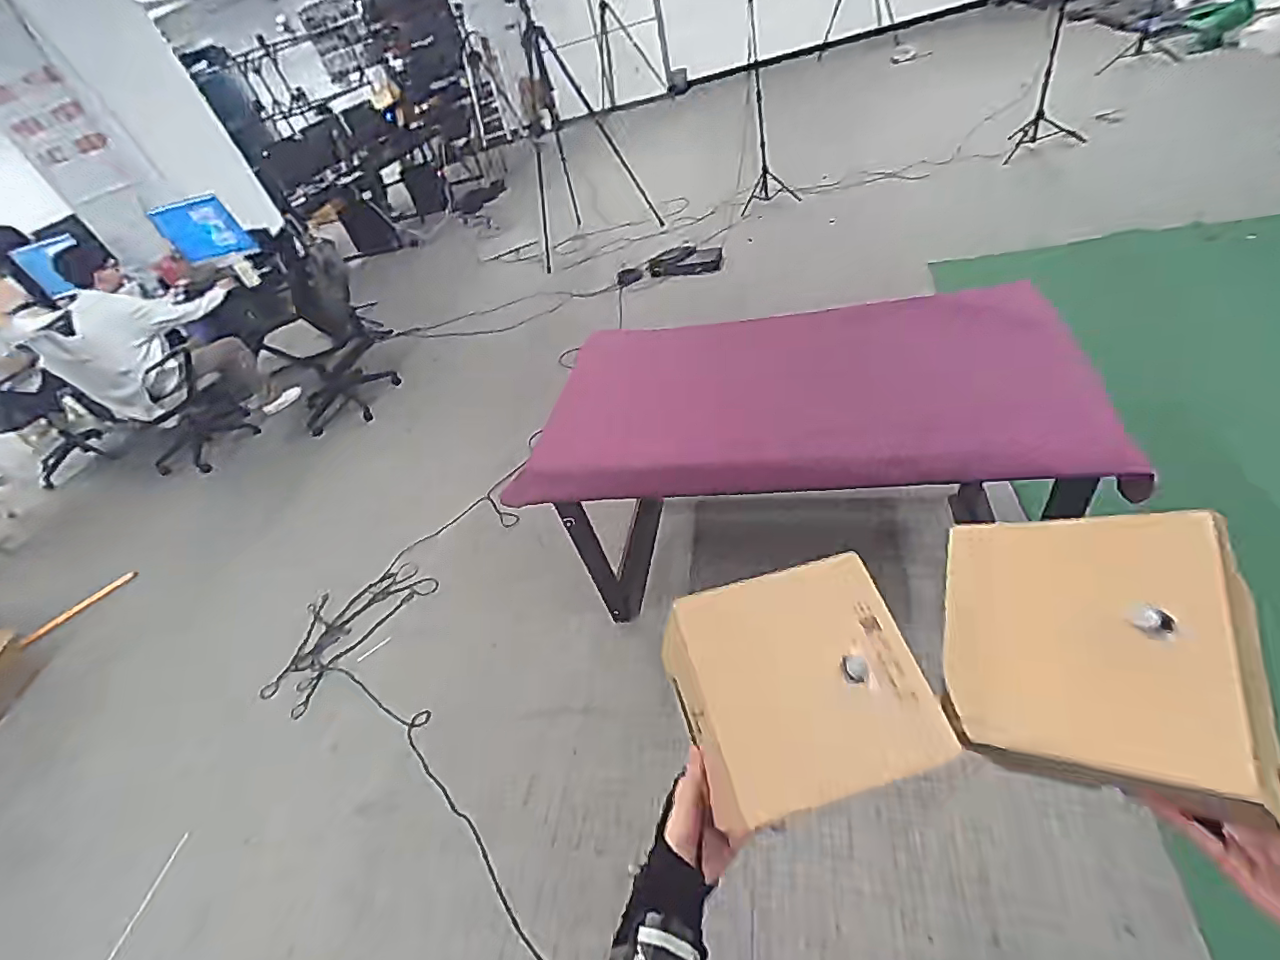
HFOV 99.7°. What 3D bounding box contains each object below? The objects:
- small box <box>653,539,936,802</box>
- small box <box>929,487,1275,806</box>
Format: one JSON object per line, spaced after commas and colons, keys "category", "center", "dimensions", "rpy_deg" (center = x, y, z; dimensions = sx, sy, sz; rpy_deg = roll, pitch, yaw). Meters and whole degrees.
{"category": "small box", "center": [0.120, 0.174, 0.488], "dimensions": [0.176, 0.179, 0.168], "rpy_deg": [-12, 60, -12]}
{"category": "small box", "center": [0.355, 0.128, 0.434], "dimensions": [0.176, 0.168, 0.179], "rpy_deg": [-14, 52, 50]}
